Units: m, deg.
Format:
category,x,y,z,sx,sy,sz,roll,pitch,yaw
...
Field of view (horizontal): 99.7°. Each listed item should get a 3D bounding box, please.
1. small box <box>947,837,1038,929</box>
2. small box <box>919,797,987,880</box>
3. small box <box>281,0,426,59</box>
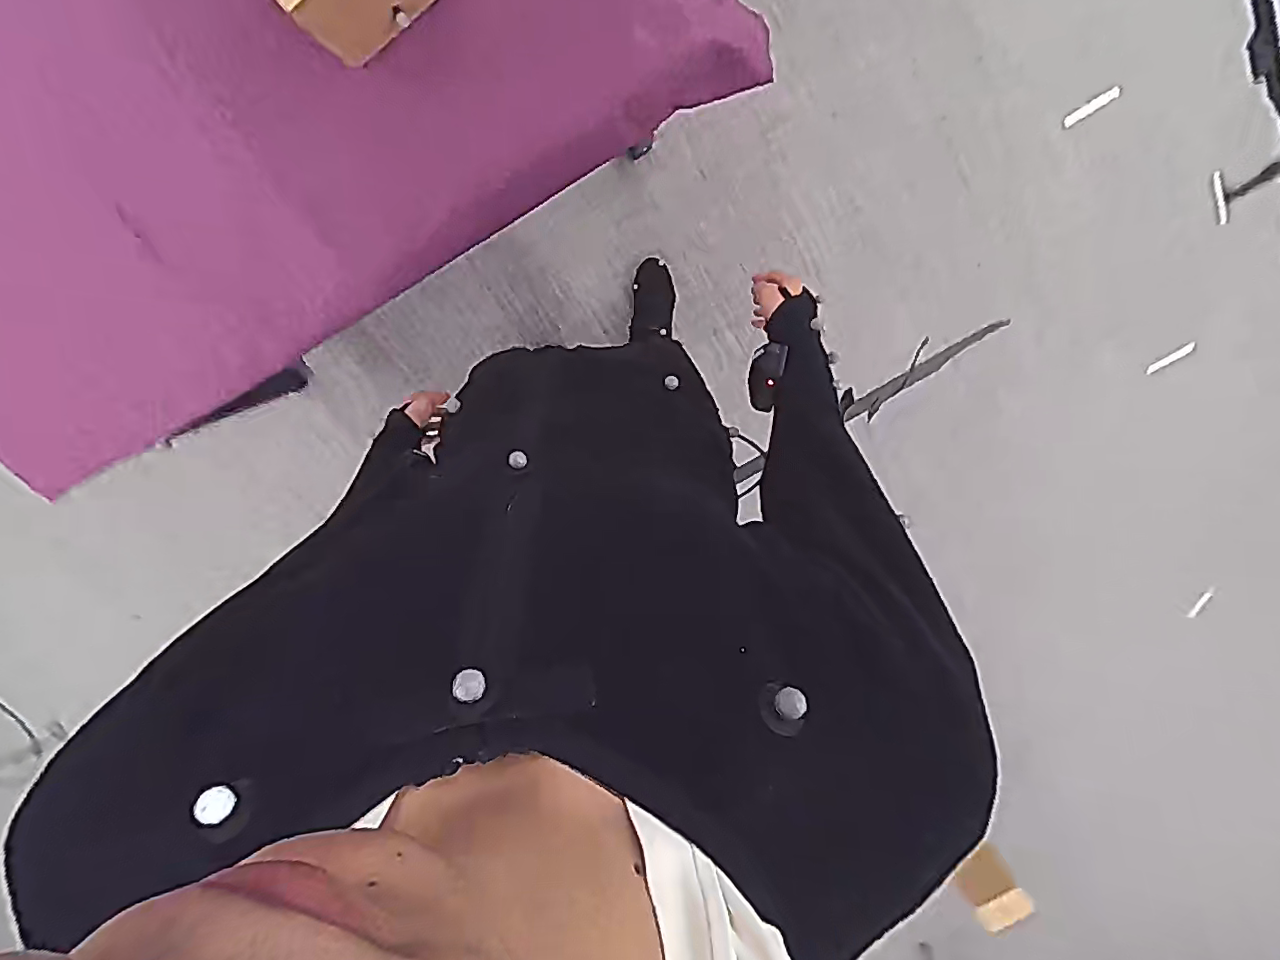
category,x,y,z,sx,sy,sz,roll,pitch,yaw
small box,1.205,1.379,1.858,0.179,0.176,0.168,-35,110,8
small box,1.179,1.328,2.013,0.168,0.176,0.179,-28,110,5
small box,-0.331,-0.605,0.570,0.179,0.176,0.168,-34,109,8
